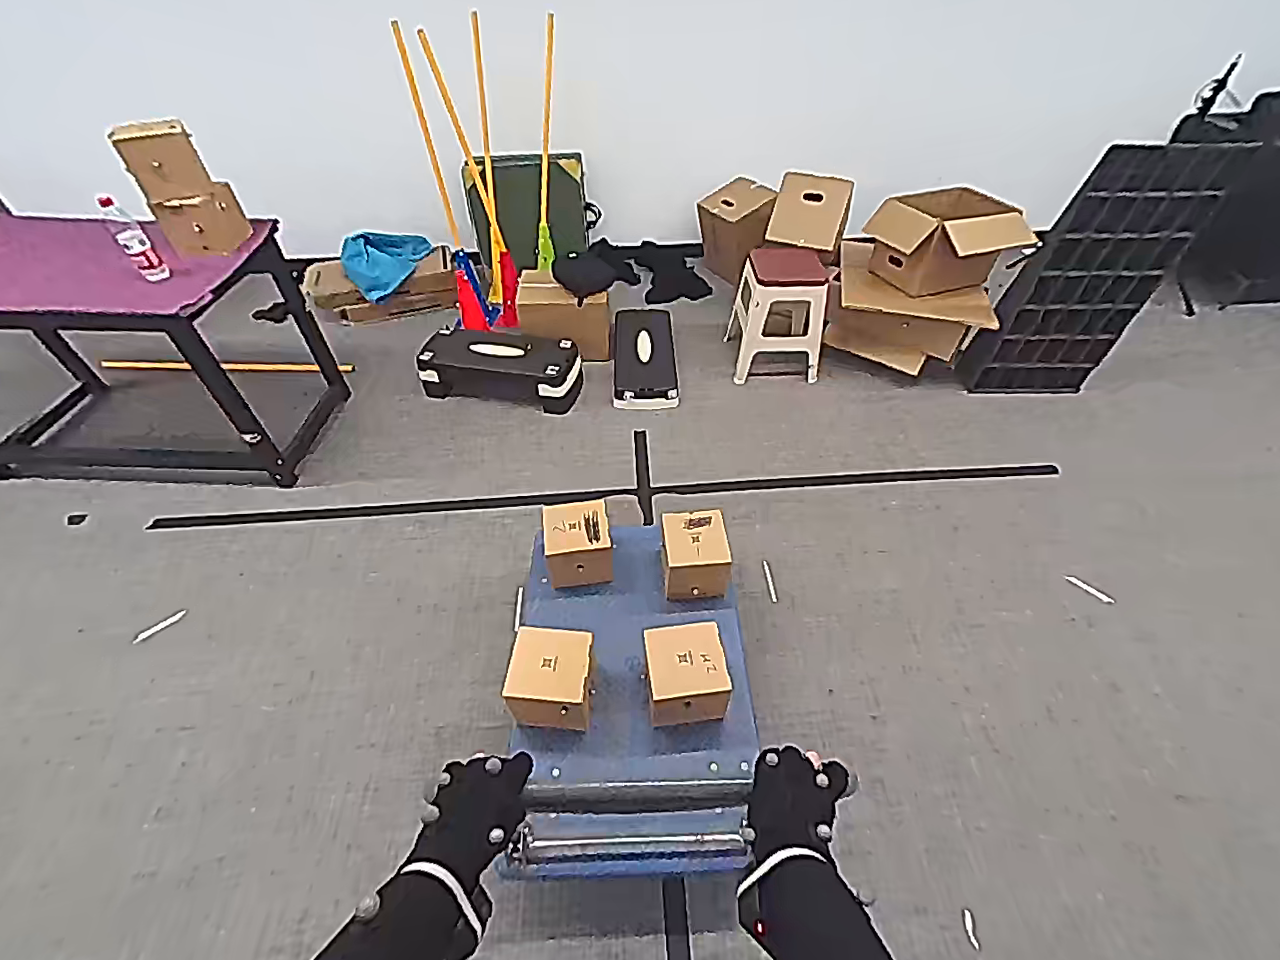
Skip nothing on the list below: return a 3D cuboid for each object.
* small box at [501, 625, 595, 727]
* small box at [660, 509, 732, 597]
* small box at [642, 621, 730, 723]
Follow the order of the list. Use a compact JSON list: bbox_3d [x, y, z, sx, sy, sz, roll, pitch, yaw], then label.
[{"bbox_3d":[-0.203,0.456,1.251,0.179,0.176,0.168,5,47,2],"label":"small box"},{"bbox_3d":[0.146,0.201,1.484,0.168,0.176,0.179,-3,49,-3],"label":"small box"},{"bbox_3d":[0.101,0.449,1.257,0.179,0.176,0.168,-5,48,-5],"label":"small box"}]
